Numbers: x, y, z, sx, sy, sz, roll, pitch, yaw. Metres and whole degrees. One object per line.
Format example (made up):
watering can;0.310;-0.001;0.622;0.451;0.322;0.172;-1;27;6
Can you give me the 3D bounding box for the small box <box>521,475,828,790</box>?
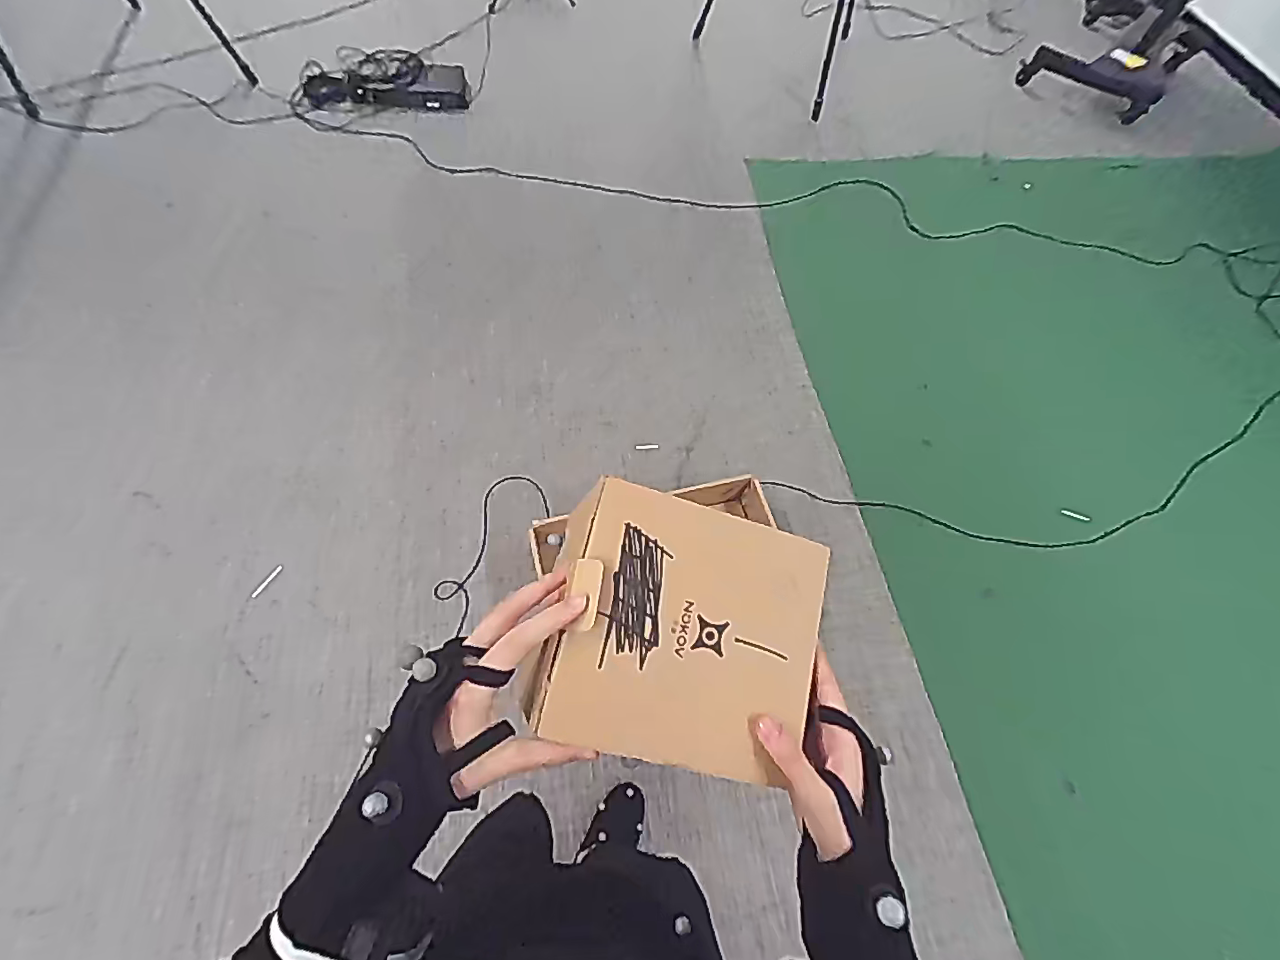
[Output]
small box;0.015;0.116;0.425;0.179;0.176;0.168;19;71;-12
